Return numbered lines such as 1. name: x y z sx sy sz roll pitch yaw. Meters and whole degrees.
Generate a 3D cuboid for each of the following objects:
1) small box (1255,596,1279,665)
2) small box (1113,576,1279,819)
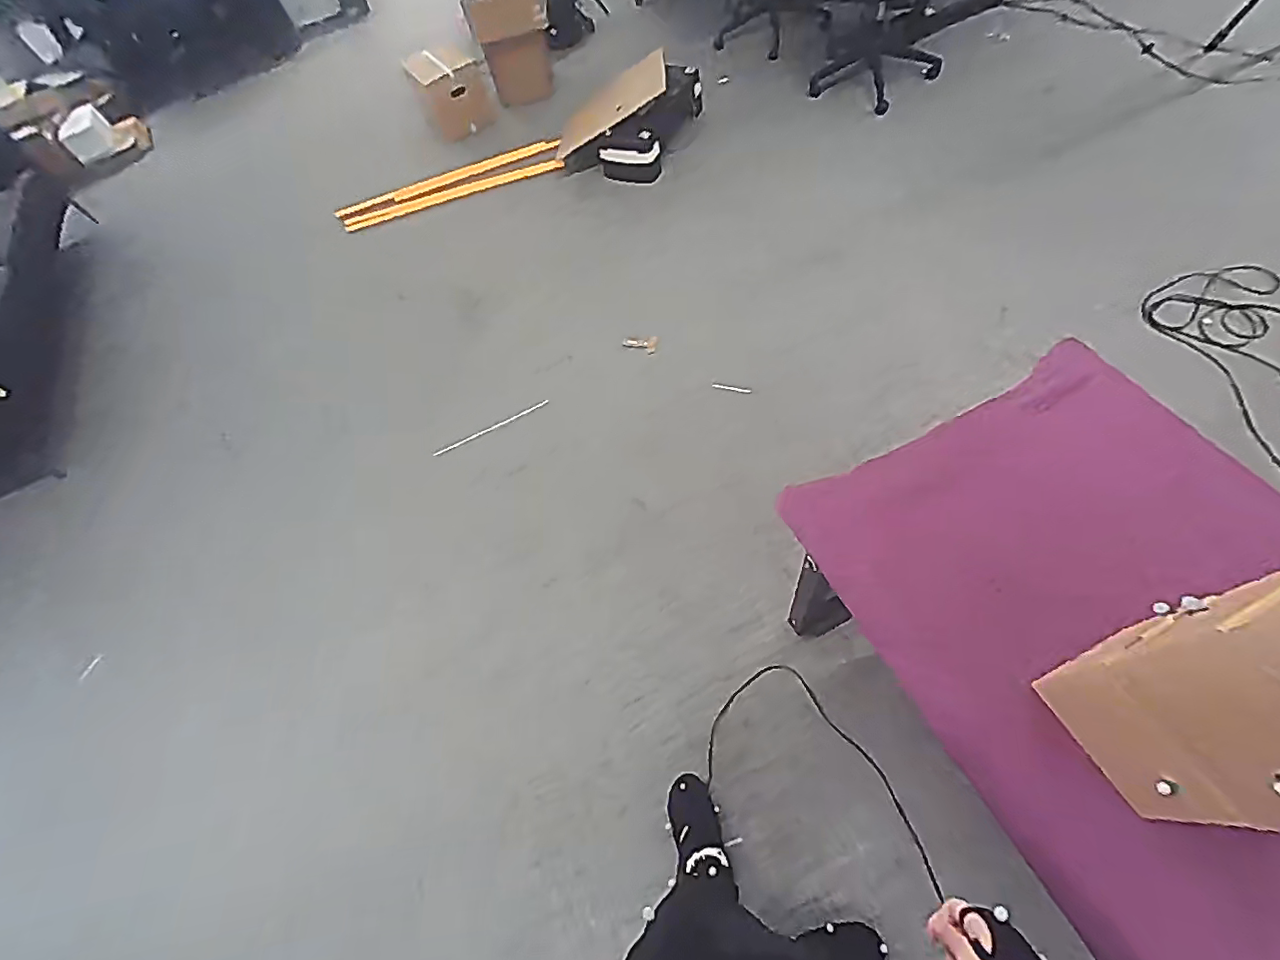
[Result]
1. small box: 0.589 0.110 0.351 0.179 0.176 0.168 -28 61 -5
2. small box: 0.609 0.191 0.491 0.168 0.176 0.179 -26 59 -5
